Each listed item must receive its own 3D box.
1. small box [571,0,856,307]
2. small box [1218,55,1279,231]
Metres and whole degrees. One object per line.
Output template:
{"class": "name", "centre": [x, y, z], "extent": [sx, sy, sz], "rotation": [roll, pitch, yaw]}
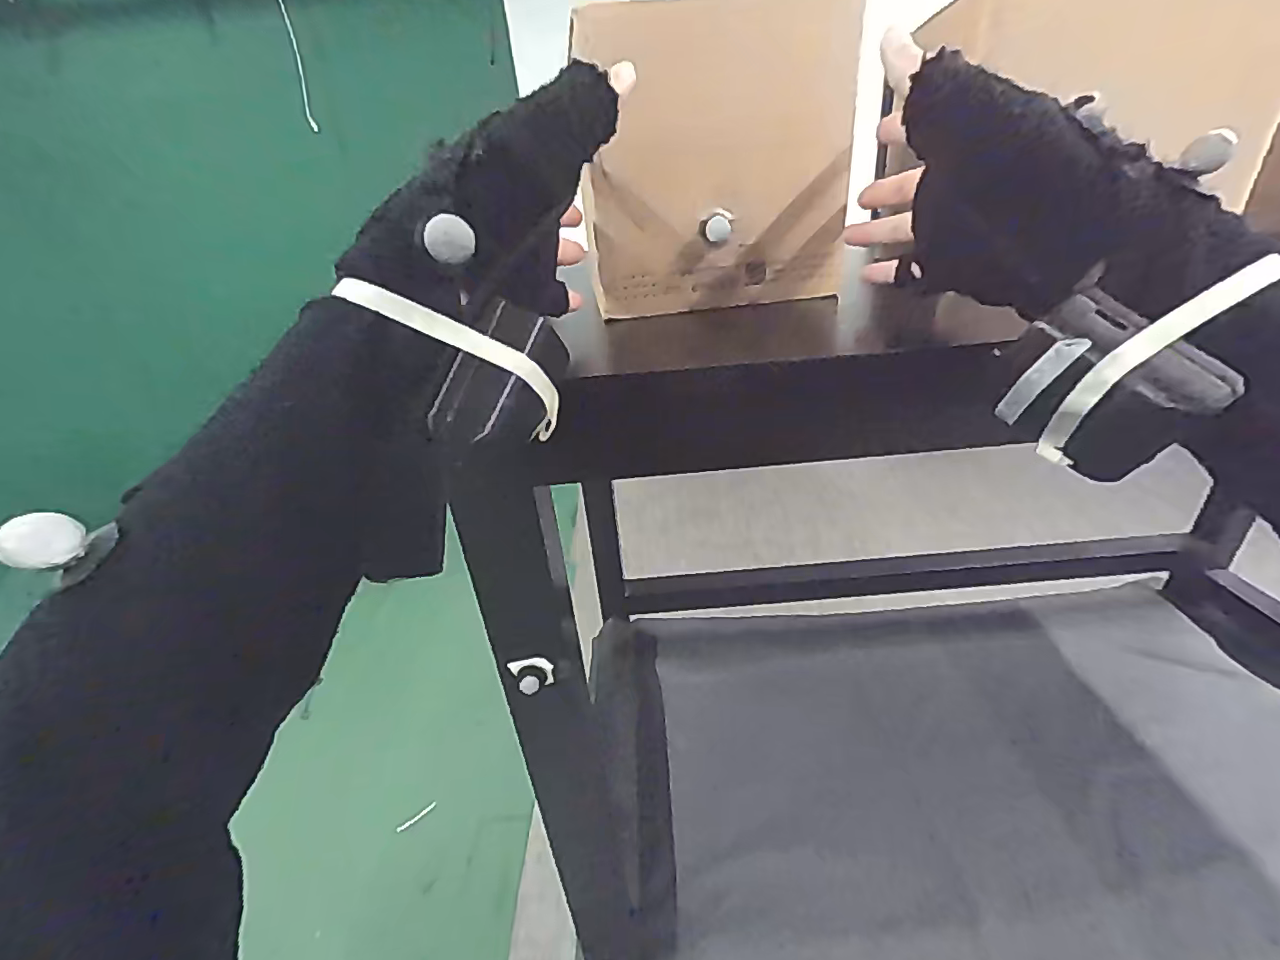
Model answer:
{"class": "small box", "centre": [0.039, -0.233, 0.411], "extent": [0.168, 0.176, 0.179], "rotation": [-8, 28, -4]}
{"class": "small box", "centre": [0.574, -0.265, 0.365], "extent": [0.168, 0.176, 0.179], "rotation": [-8, 28, -2]}
